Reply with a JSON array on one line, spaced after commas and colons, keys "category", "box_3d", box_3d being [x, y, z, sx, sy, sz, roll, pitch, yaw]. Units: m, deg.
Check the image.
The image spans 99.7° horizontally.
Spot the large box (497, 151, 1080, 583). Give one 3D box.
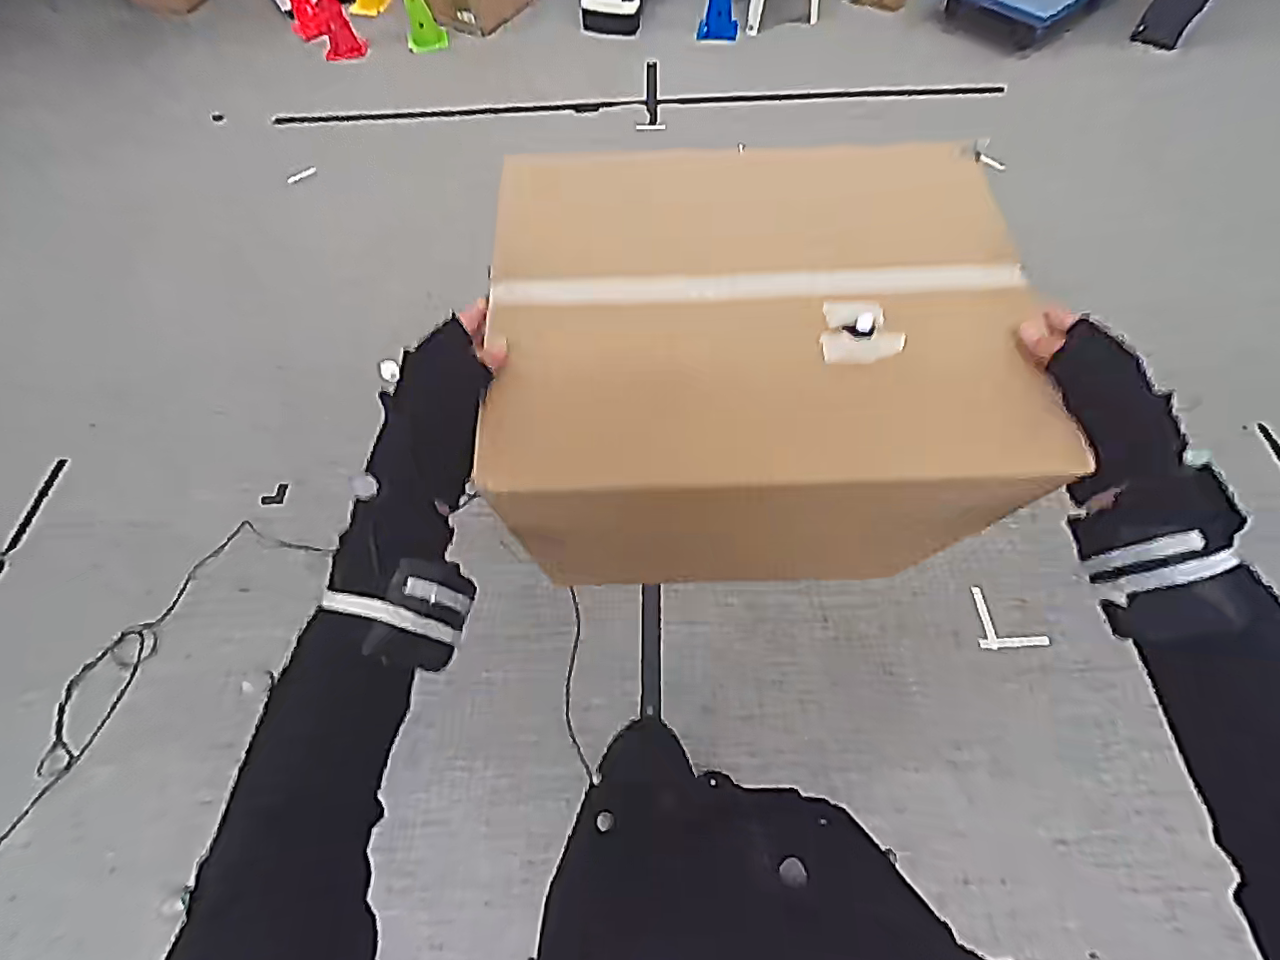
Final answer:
[{"category": "large box", "box_3d": [0.093, -0.086, 0.554, 0.408, 0.320, 0.320, -2, 68, -1]}]
